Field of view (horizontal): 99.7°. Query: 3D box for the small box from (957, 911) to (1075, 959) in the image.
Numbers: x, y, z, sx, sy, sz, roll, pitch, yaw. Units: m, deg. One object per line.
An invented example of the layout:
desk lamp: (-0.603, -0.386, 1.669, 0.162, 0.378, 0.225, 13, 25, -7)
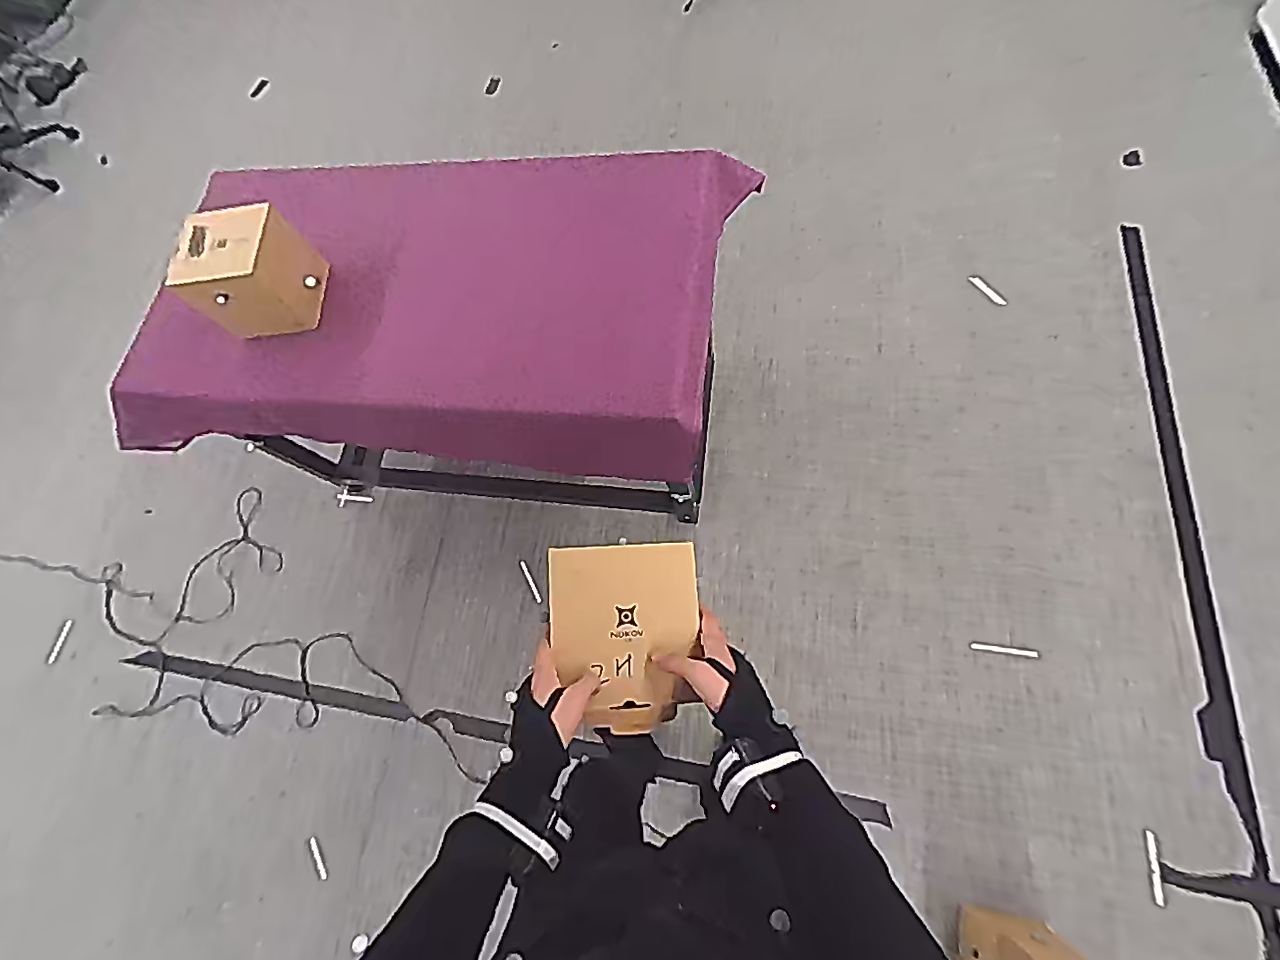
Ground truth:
small box: (0.752, 1.006, 1.081, 0.179, 0.176, 0.168, 10, 72, 12)

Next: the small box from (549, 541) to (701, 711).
small box: (-0.025, 0.174, 0.671, 0.168, 0.176, 0.179, -2, 79, -5)

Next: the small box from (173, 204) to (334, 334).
small box: (-0.748, -0.404, 1.065, 0.179, 0.176, 0.168, -4, 70, 7)
